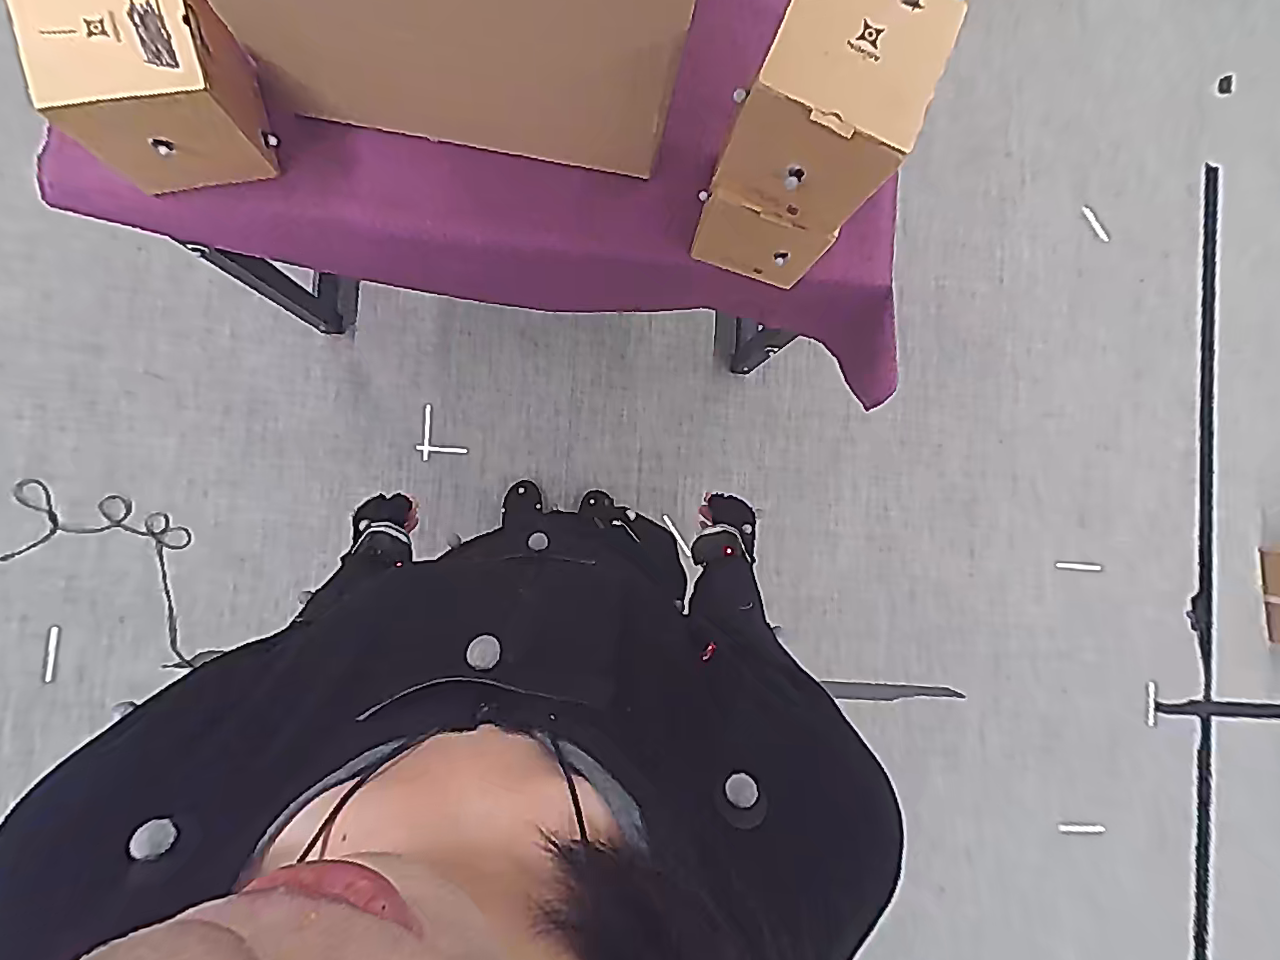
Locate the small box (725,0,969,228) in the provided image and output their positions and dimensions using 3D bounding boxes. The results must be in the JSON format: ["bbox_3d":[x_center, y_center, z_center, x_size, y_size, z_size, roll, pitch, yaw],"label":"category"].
[{"bbox_3d":[0.209,-0.419,0.598,0.168,0.176,0.179,24,86,-6],"label":"small box"}]

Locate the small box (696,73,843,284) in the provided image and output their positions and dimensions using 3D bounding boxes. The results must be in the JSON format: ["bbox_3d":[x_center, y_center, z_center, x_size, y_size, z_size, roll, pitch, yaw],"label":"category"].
[{"bbox_3d":[0.187,-0.405,0.762,0.168,0.176,0.179,16,85,-6],"label":"small box"}]
